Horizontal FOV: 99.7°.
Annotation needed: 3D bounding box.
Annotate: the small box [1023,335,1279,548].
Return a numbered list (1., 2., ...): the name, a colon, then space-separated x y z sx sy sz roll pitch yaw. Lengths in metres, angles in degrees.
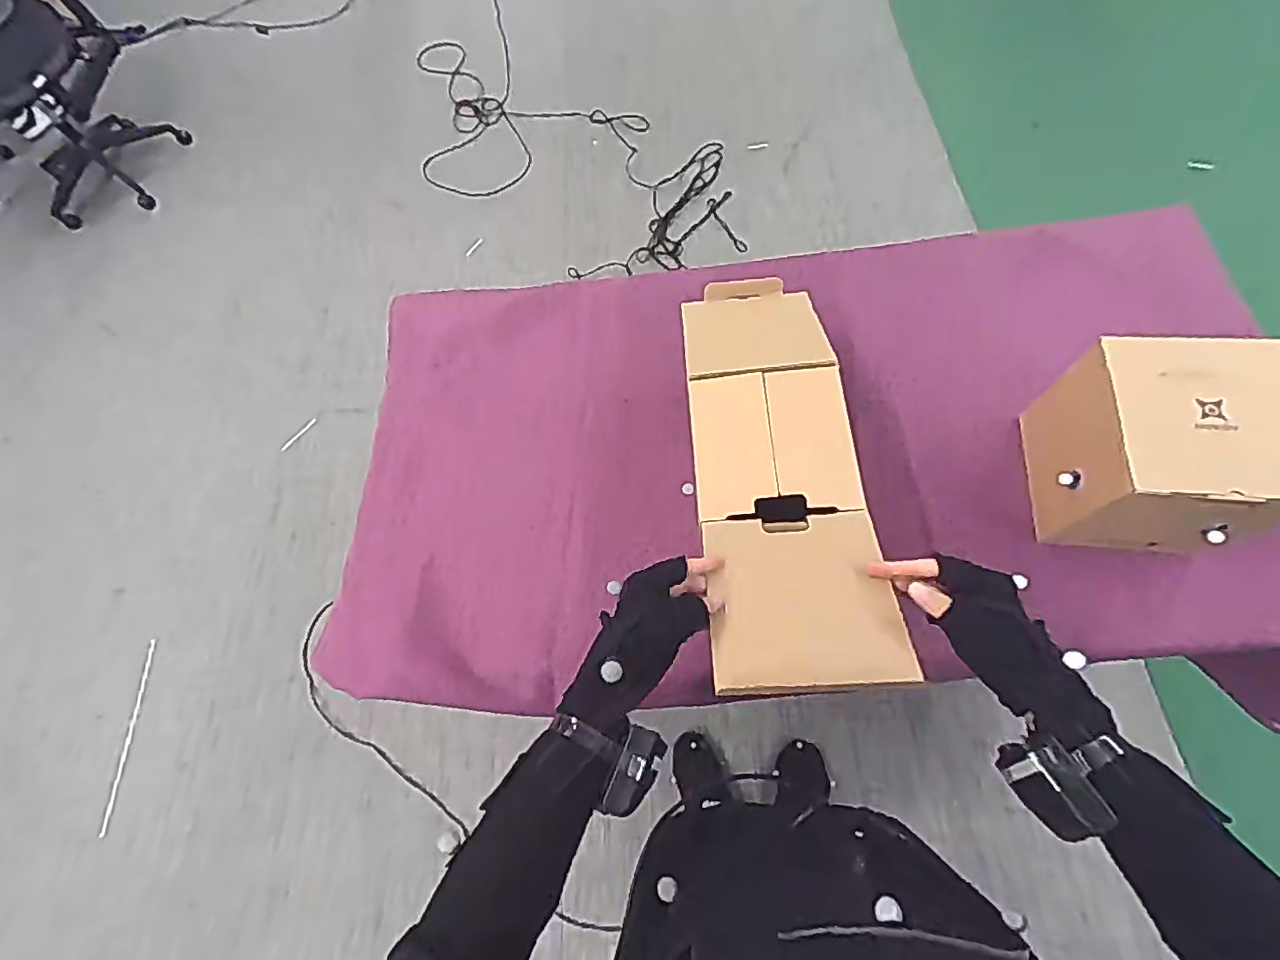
1. small box: 0.550 -0.034 0.583 0.168 0.176 0.179 4 68 10
